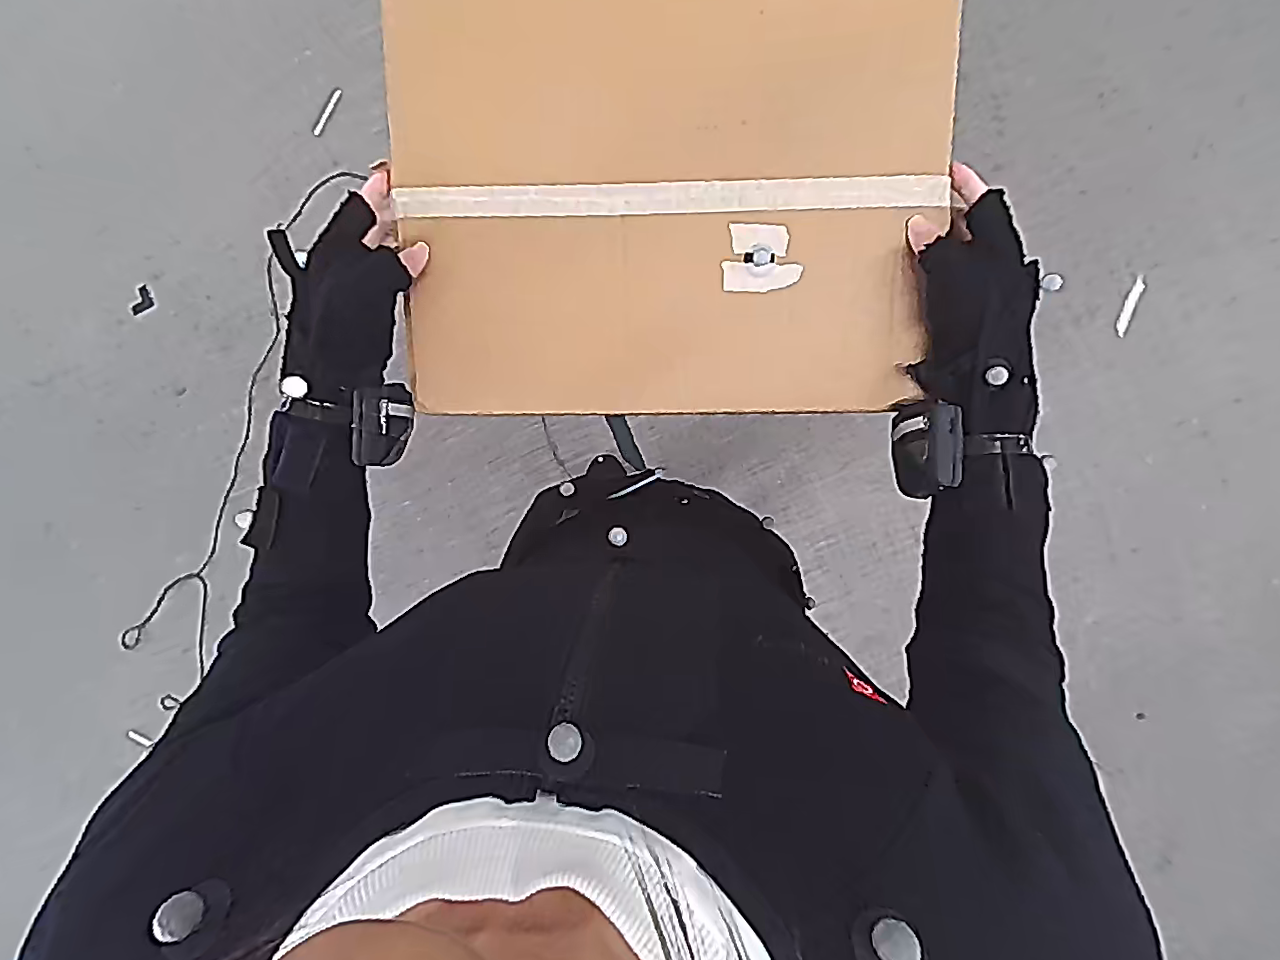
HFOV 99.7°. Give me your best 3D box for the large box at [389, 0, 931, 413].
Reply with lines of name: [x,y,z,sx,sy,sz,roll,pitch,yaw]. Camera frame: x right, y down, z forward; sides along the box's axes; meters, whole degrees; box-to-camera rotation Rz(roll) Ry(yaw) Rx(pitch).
large box: [0.018,-0.236,0.561,0.408,0.320,0.320,-1,100,1]
